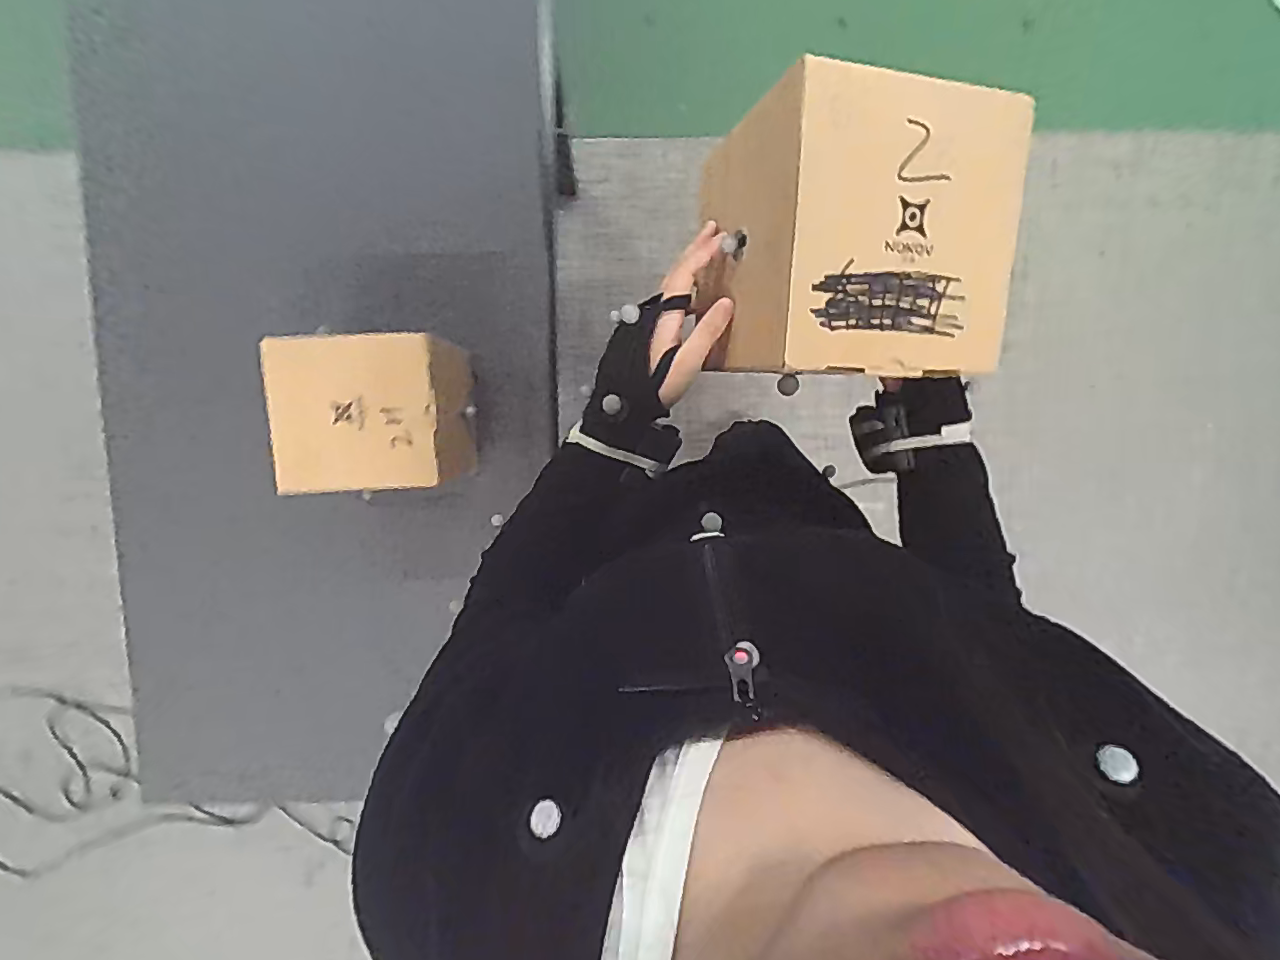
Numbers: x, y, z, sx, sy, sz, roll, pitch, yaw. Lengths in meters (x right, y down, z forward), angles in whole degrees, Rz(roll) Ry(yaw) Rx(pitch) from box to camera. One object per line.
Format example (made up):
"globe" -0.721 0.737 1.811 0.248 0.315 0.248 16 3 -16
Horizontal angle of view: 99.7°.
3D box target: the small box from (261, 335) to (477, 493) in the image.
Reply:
"small box" -0.314 -0.078 0.661 0.179 0.176 0.168 -4 97 -2
